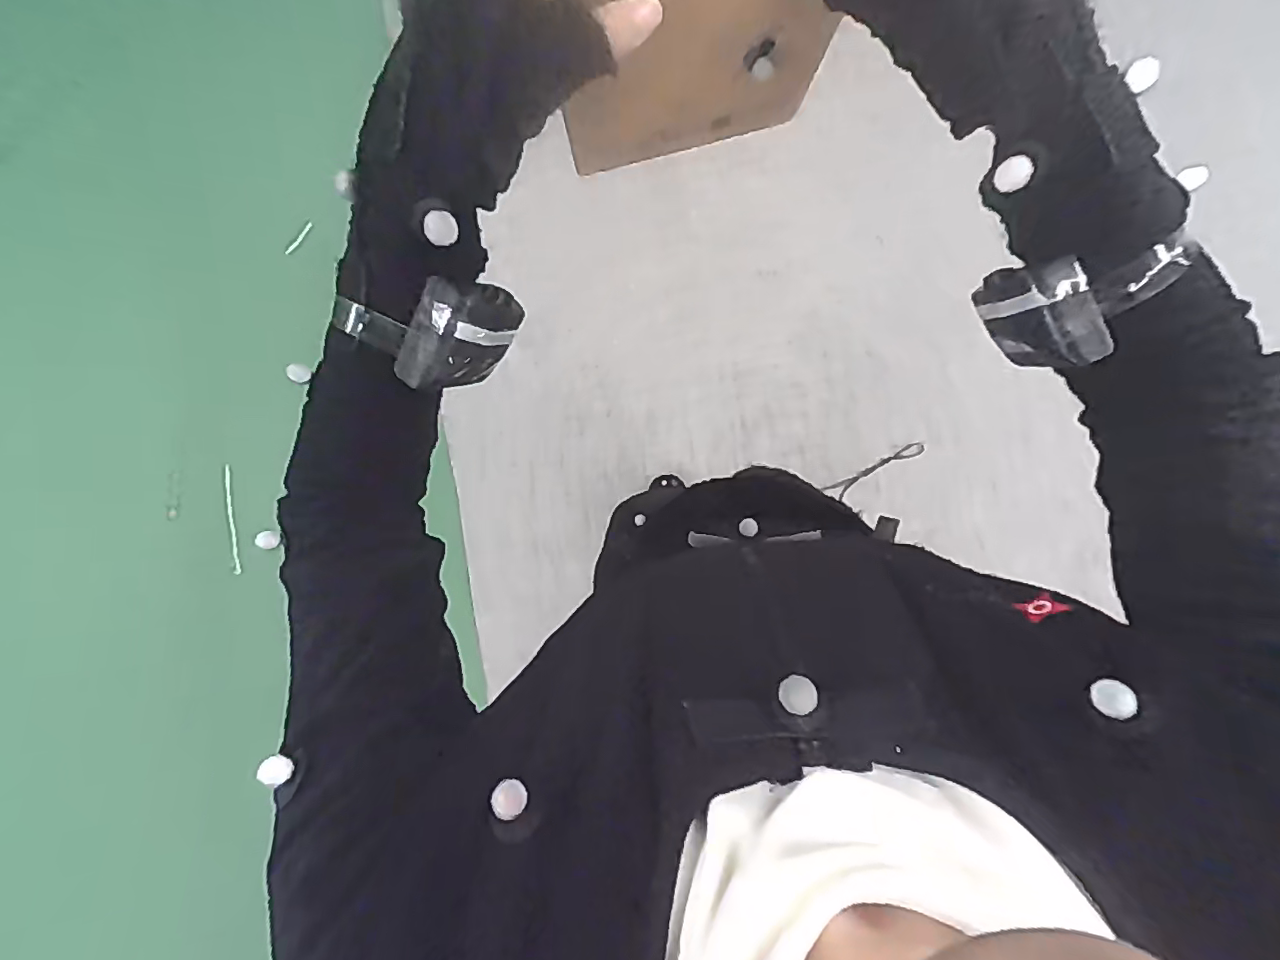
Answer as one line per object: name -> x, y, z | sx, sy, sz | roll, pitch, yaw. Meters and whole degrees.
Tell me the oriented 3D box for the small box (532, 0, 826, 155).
small box -> 0.012, -0.325, 0.320 | 0.168, 0.176, 0.179 | -14, 94, 1
